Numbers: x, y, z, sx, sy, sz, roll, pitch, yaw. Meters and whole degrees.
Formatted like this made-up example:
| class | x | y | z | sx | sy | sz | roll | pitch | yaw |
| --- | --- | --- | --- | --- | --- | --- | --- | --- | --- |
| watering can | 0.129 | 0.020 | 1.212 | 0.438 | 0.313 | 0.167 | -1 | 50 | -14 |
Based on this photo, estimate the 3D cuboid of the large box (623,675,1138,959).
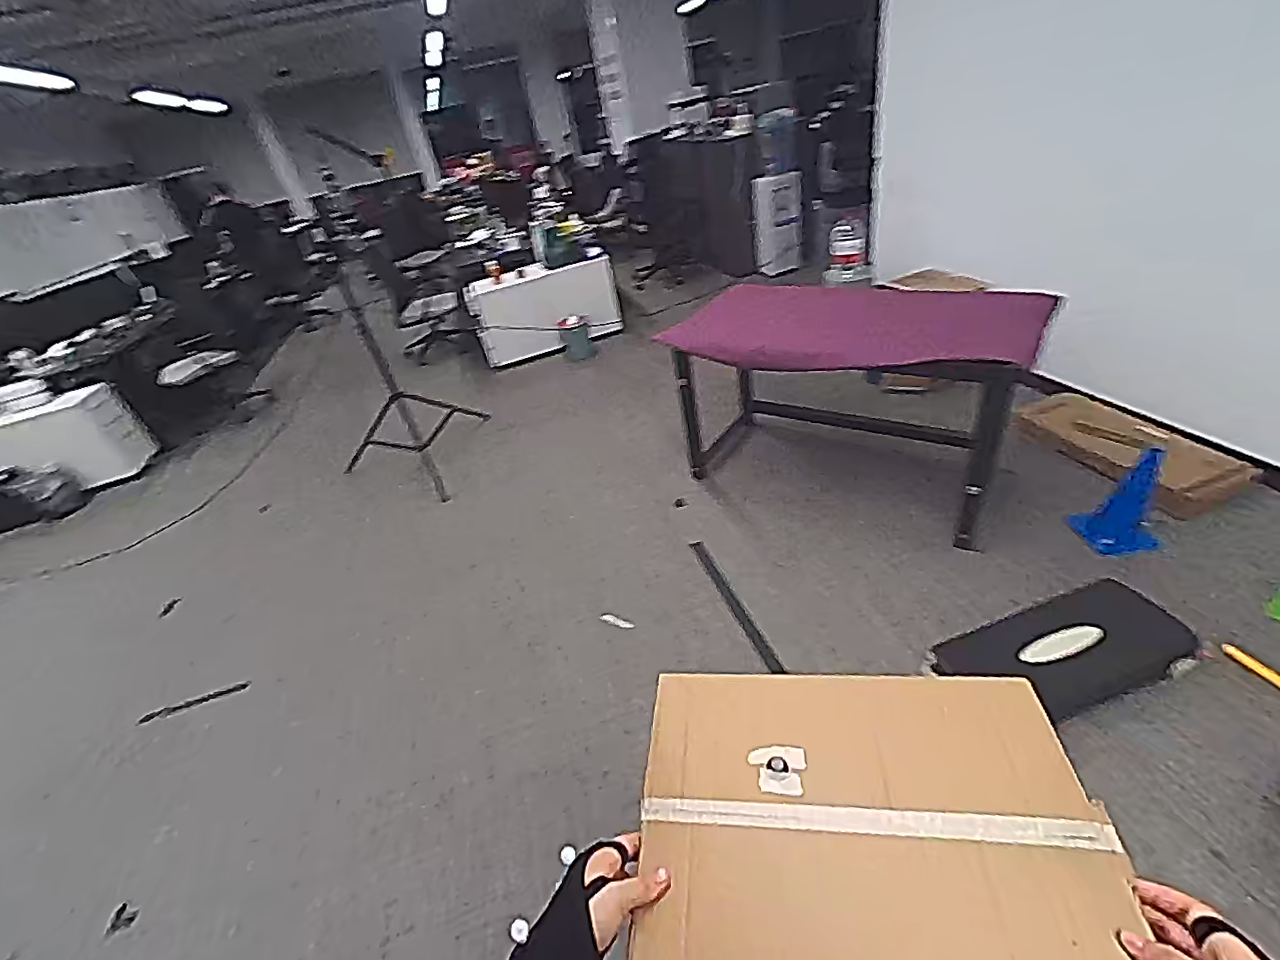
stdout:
| class | x | y | z | sx | sy | sz | roll | pitch | yaw |
| --- | --- | --- | --- | --- | --- | --- | --- | --- | --- |
| large box | 0.222 | 0.444 | 0.599 | 0.408 | 0.320 | 0.320 | -6 | 35 | 13 |
